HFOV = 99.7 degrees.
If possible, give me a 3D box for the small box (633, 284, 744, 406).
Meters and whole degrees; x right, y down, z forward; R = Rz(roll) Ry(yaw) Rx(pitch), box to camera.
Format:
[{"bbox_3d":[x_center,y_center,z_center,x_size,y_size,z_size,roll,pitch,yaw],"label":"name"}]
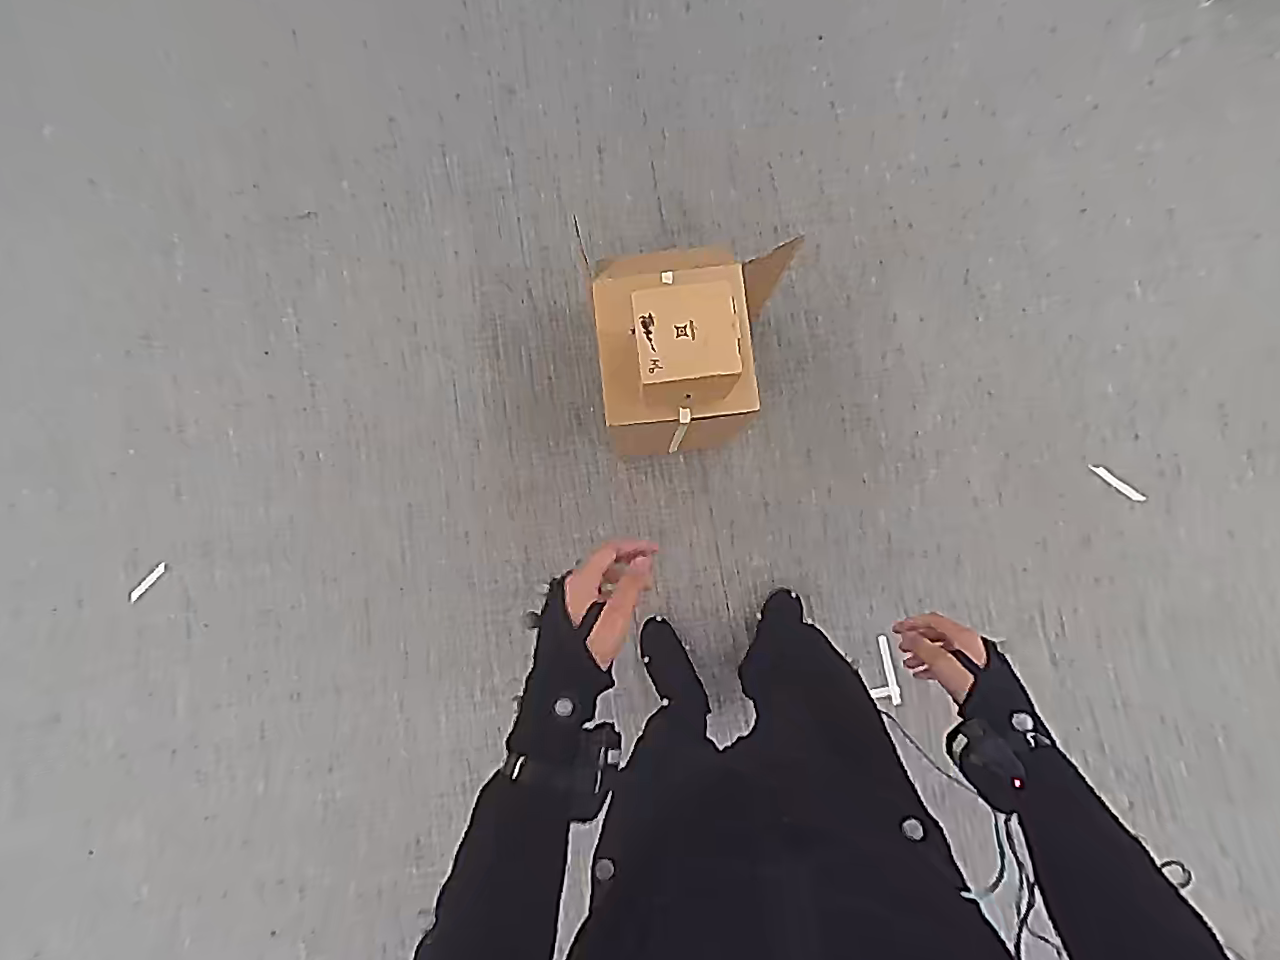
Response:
[{"bbox_3d":[0.080,-0.239,0.989,0.179,0.176,0.168,-6,85,0],"label":"small box"}]
